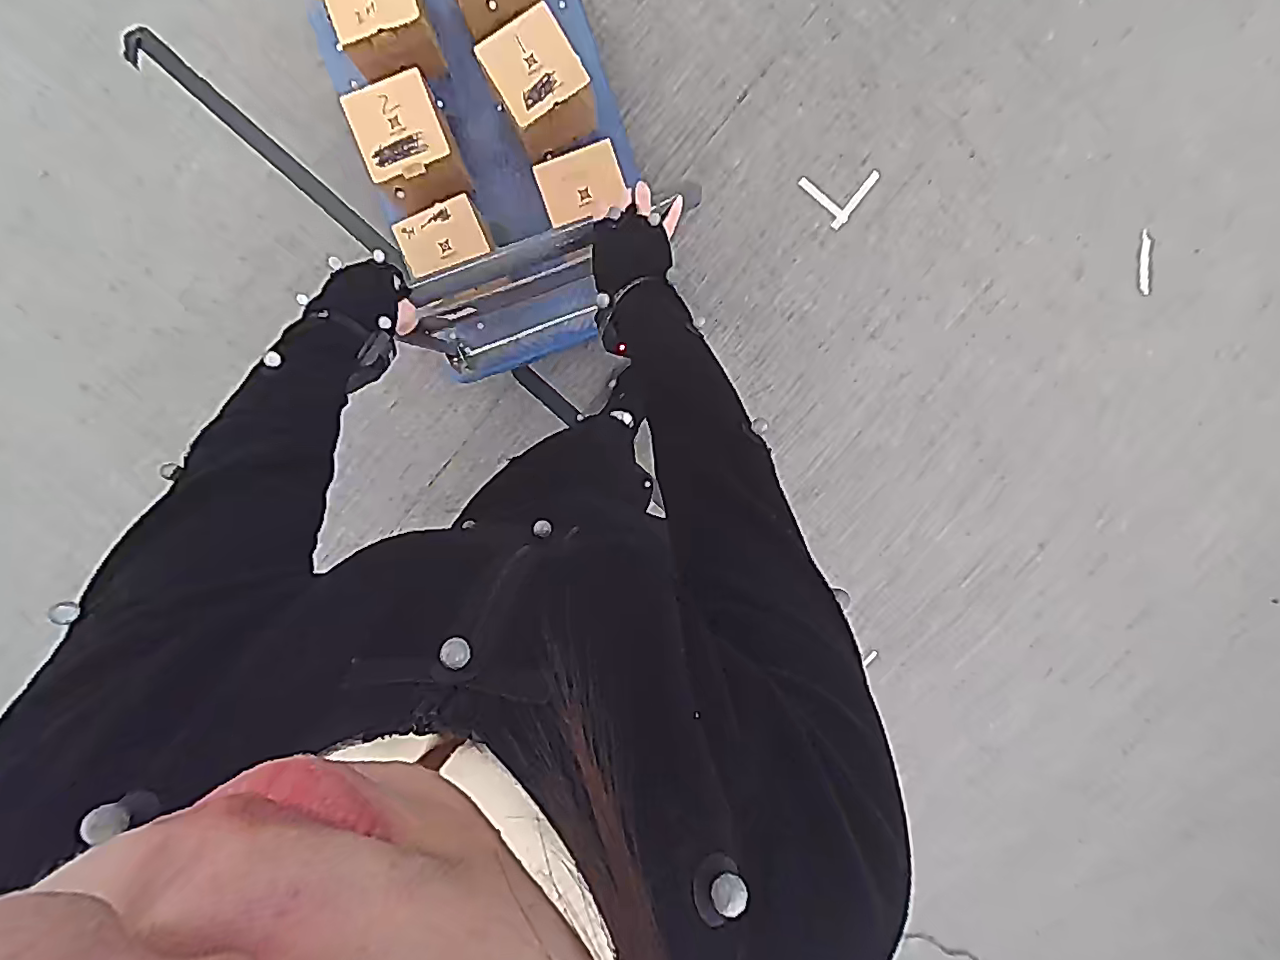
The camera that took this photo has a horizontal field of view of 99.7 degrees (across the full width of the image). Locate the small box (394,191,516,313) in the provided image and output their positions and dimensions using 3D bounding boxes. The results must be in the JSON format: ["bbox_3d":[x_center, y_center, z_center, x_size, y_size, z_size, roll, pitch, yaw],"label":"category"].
[{"bbox_3d":[-0.385,-0.474,1.160,0.168,0.176,0.179,-24,97,1],"label":"small box"}]

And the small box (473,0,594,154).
[{"bbox_3d":[-0.209,-0.818,1.122,0.168,0.176,0.179,-32,95,3],"label":"small box"}]

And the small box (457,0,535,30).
[{"bbox_3d":[-0.319,-1.065,1.092,0.168,0.176,0.179,-23,96,2],"label":"small box"}]

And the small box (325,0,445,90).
[{"bbox_3d":[-0.524,-0.950,1.099,0.168,0.176,0.179,-19,98,1],"label":"small box"}]

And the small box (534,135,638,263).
[{"bbox_3d":[-0.107,-0.583,1.153,0.168,0.176,0.179,-20,96,1],"label":"small box"}]
